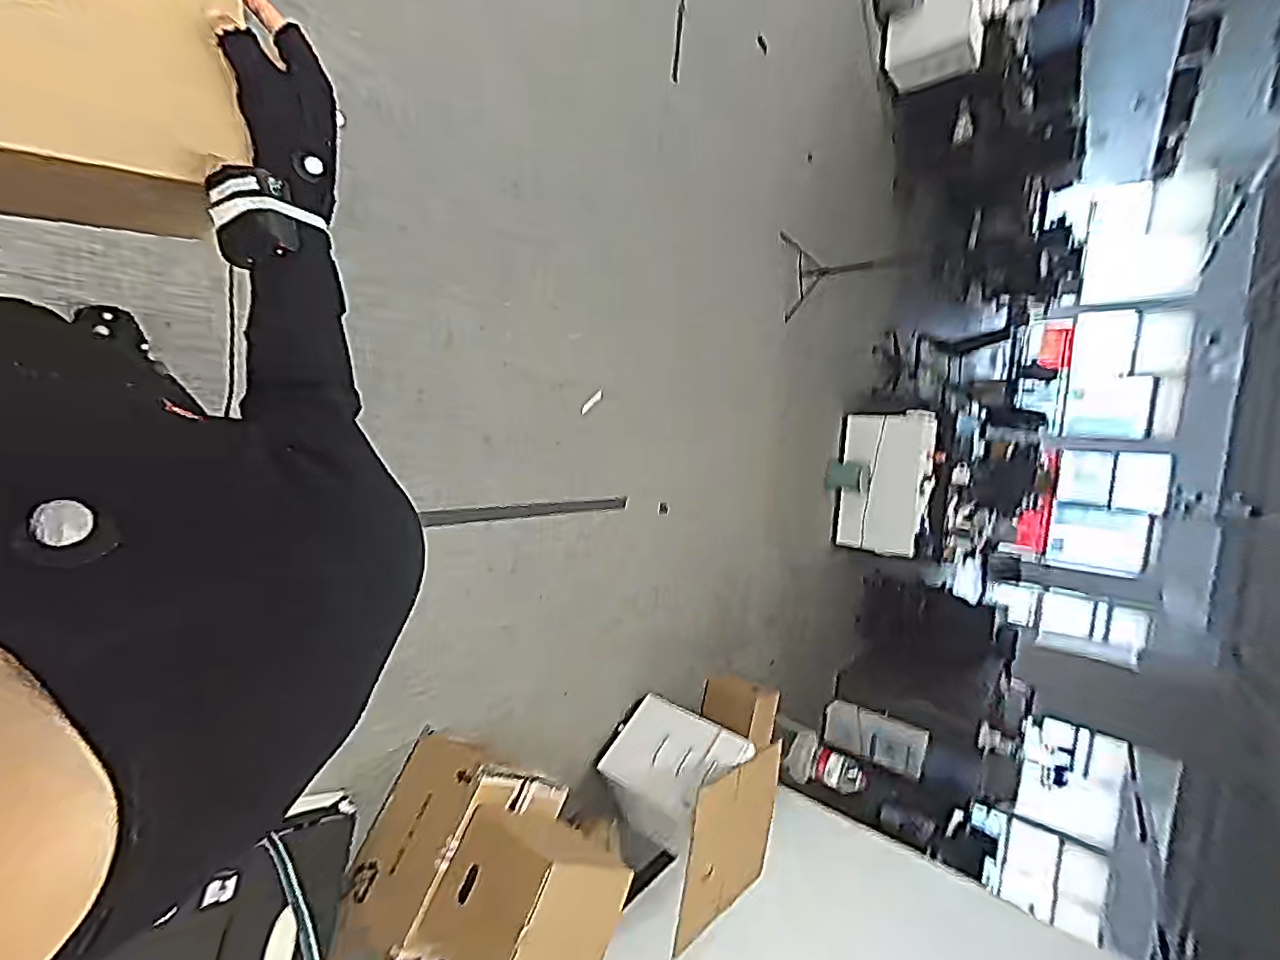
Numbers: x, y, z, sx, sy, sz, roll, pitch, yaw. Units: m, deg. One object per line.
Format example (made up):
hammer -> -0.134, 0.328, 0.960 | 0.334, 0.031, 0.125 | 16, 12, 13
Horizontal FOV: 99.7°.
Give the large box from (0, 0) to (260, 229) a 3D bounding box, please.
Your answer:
large box -> -0.568, -0.394, 0.386 | 0.408, 0.320, 0.320 | -12, 110, -46
